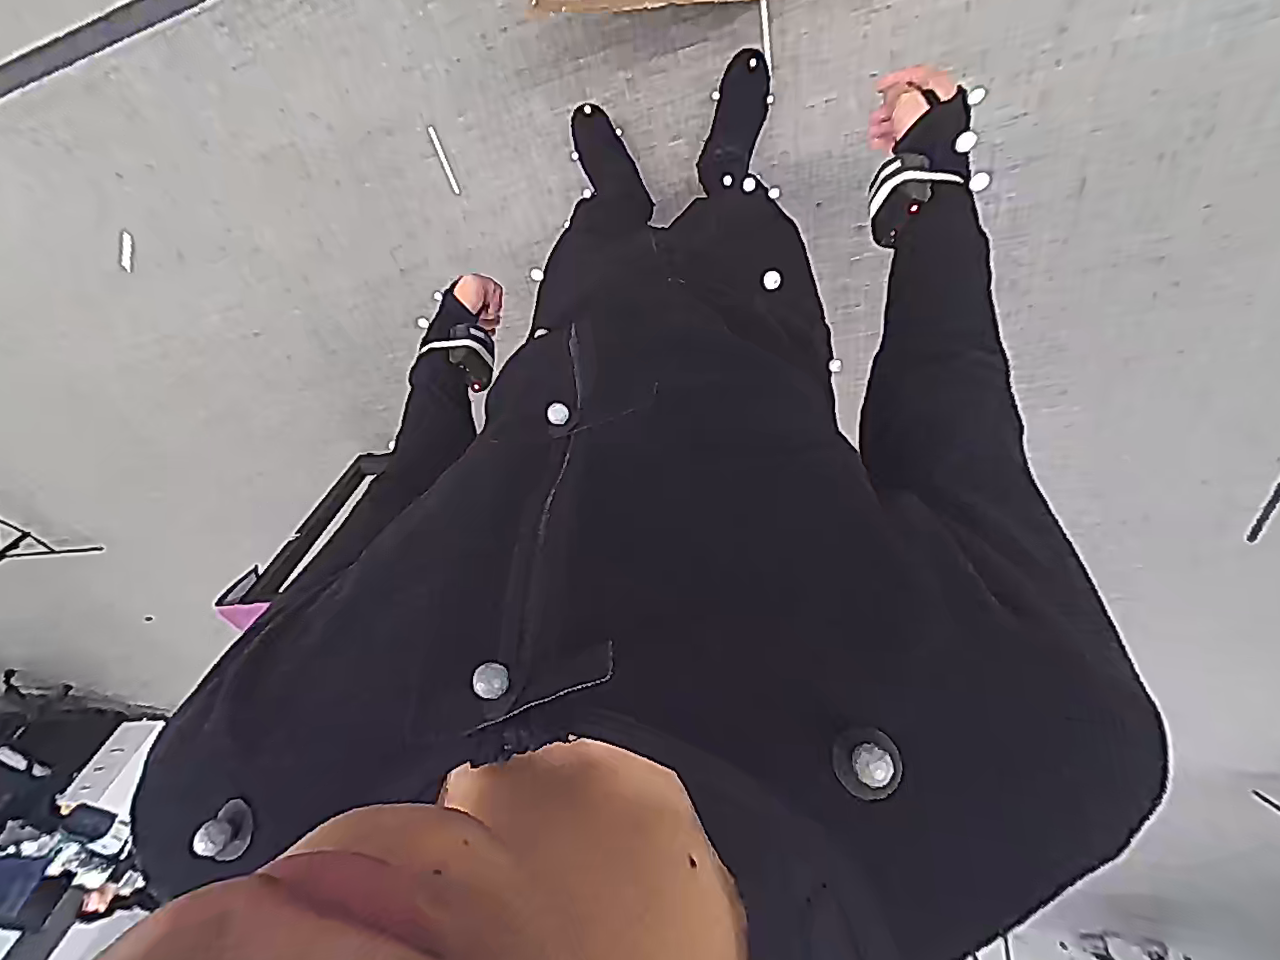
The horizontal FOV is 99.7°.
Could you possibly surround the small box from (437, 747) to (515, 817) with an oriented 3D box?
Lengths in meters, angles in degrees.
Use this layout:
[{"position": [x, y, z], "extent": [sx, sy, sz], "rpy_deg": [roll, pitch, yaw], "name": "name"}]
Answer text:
[{"position": [-0.566, 1.055, 1.890], "extent": [0.179, 0.176, 0.168], "rpy_deg": [-14, 127, 19], "name": "small box"}]
